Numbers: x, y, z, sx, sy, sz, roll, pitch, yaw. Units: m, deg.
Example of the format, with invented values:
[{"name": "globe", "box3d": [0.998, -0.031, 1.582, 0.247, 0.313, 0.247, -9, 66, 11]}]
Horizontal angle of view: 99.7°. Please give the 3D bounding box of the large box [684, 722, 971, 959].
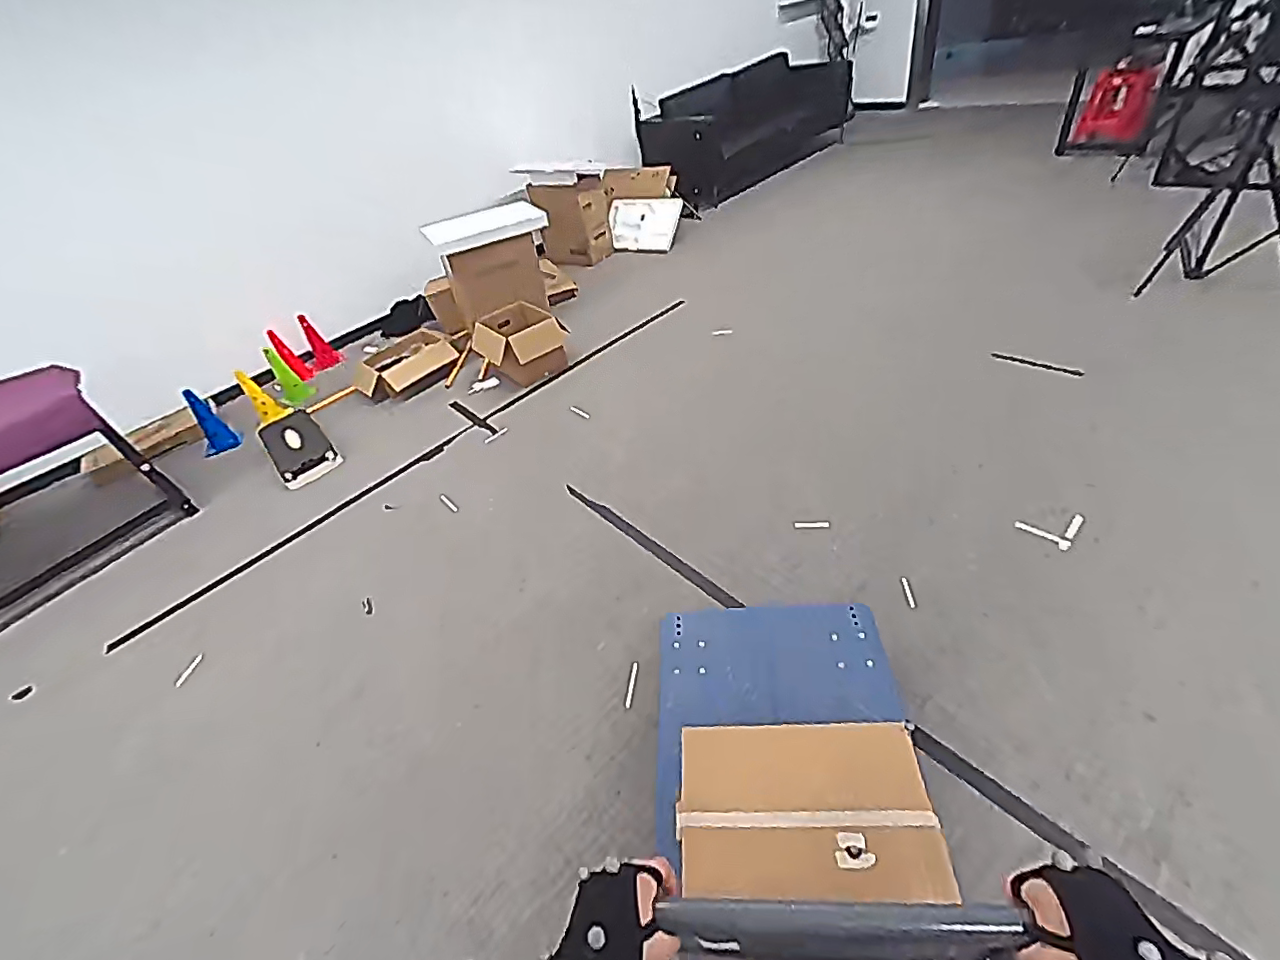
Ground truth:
[{"name": "large box", "box3d": [0.295, 0.669, 0.982, 0.408, 0.320, 0.320, -5, 41, 8]}]
